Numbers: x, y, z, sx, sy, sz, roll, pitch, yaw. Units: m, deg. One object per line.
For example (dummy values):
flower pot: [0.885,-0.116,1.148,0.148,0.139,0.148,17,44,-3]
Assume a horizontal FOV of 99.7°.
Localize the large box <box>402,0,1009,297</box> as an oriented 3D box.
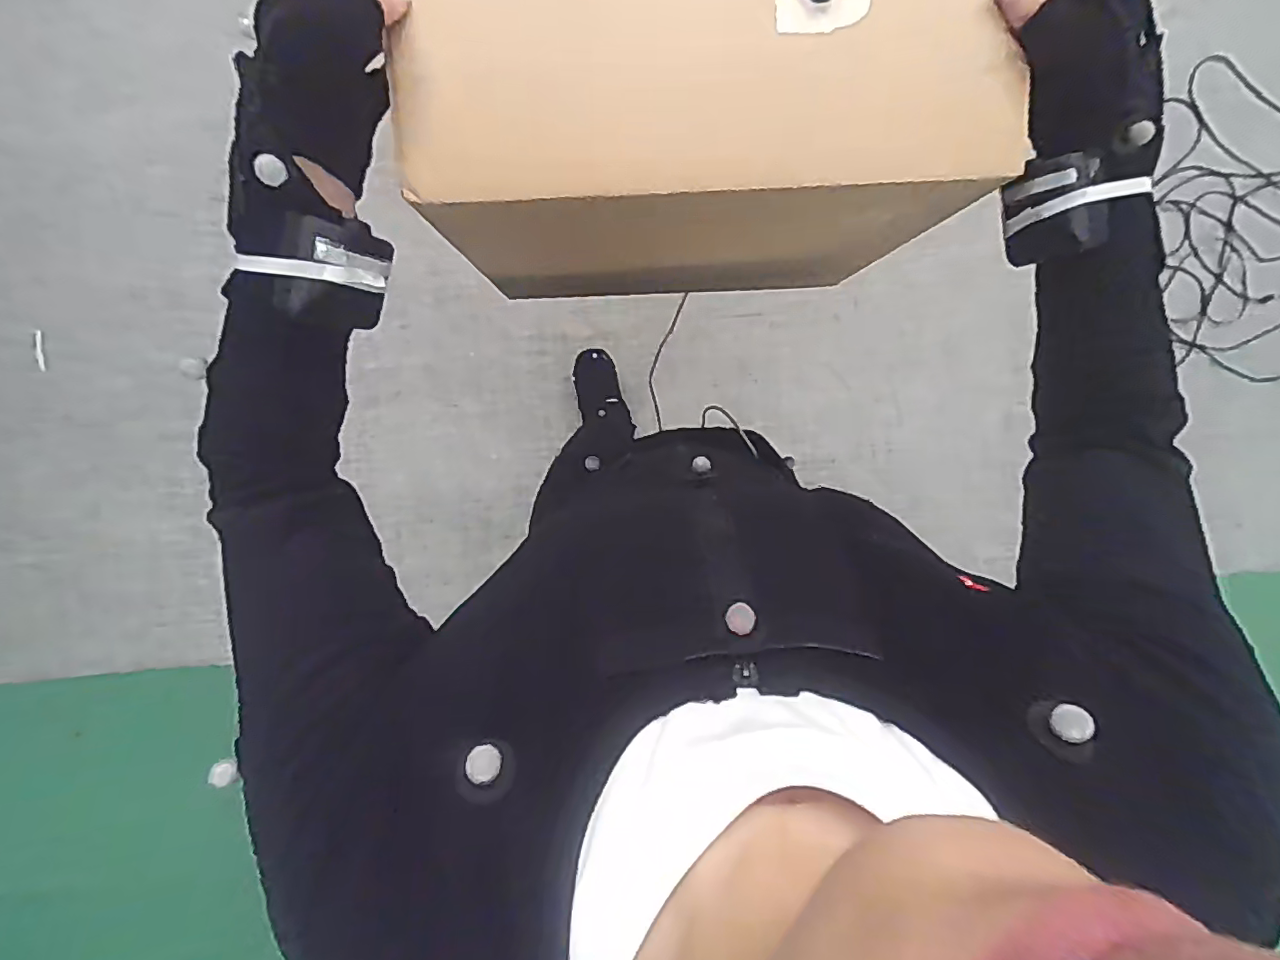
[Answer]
large box: [0.036,-0.368,0.494,0.408,0.320,0.320,-4,98,-1]
